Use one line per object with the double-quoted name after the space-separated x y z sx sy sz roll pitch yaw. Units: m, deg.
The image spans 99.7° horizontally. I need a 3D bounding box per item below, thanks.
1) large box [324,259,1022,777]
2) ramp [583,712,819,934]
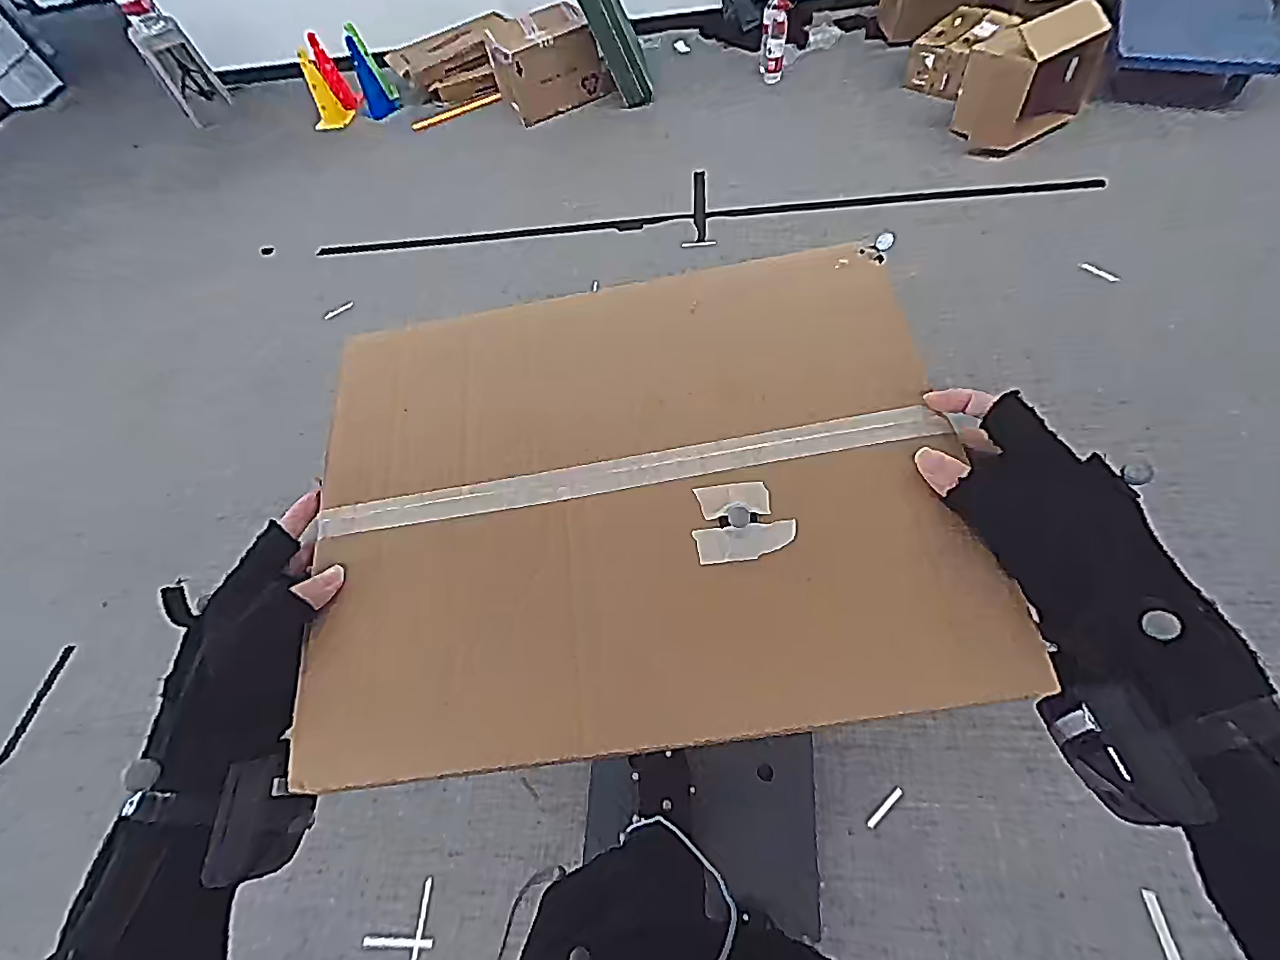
0.009 0.061 0.496 0.408 0.320 0.320 -9 66 3 "large box"
0.150 0.437 1.280 0.509 0.206 0.991 0 59 7 "ramp"
